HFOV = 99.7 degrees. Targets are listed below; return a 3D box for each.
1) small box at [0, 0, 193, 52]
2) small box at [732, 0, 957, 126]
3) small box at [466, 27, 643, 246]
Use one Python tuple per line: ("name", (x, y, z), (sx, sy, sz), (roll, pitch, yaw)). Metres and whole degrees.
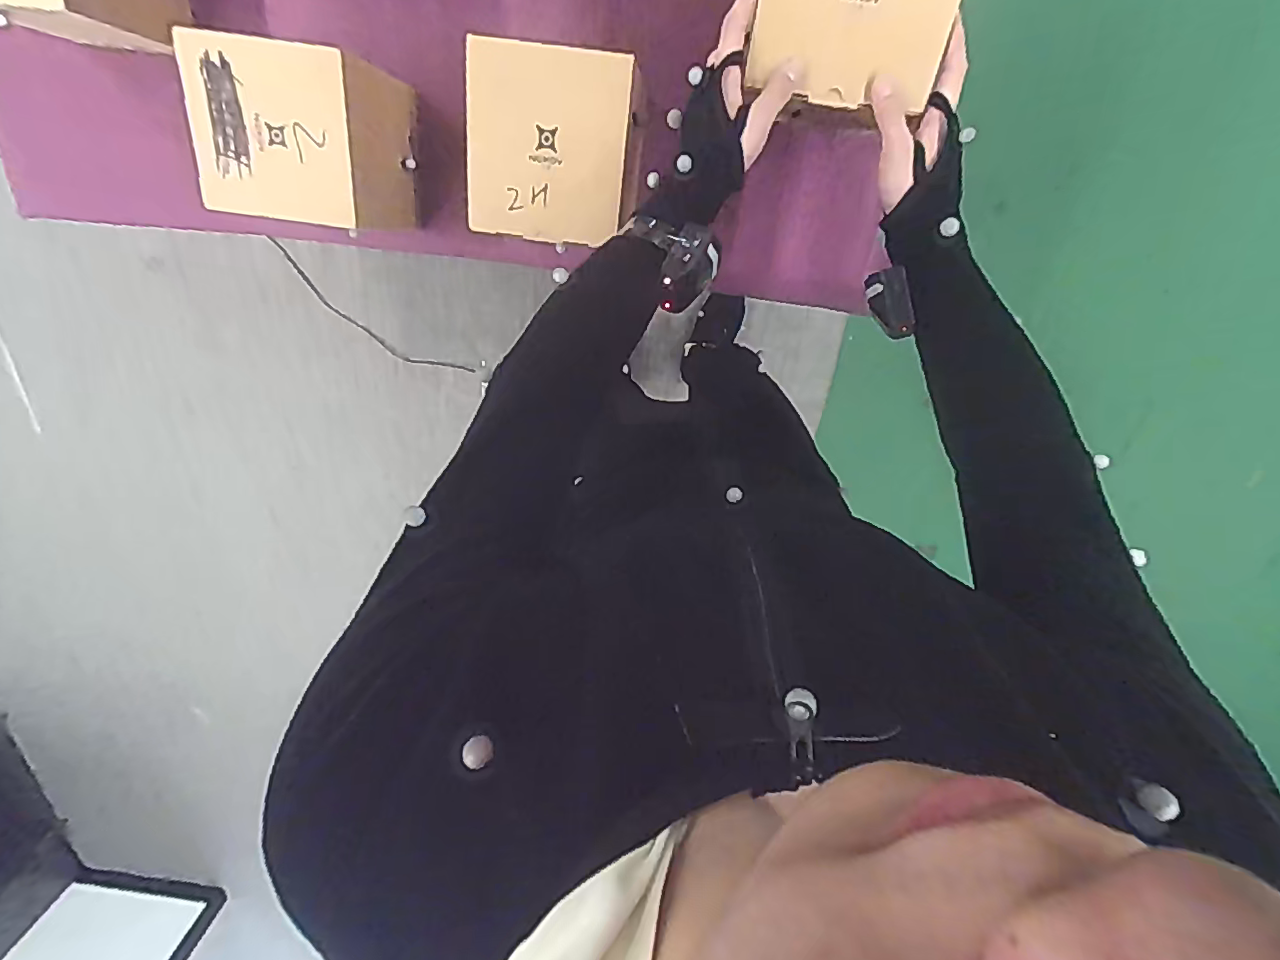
("small box", (-0.630, -0.591, 0.569), (0.168, 0.176, 0.179), (9, 116, 2))
("small box", (0.187, -0.454, 0.509), (0.168, 0.176, 0.179), (9, 120, 0))
("small box", (-0.091, -0.376, 0.624), (0.168, 0.176, 0.179), (9, 115, 1))
